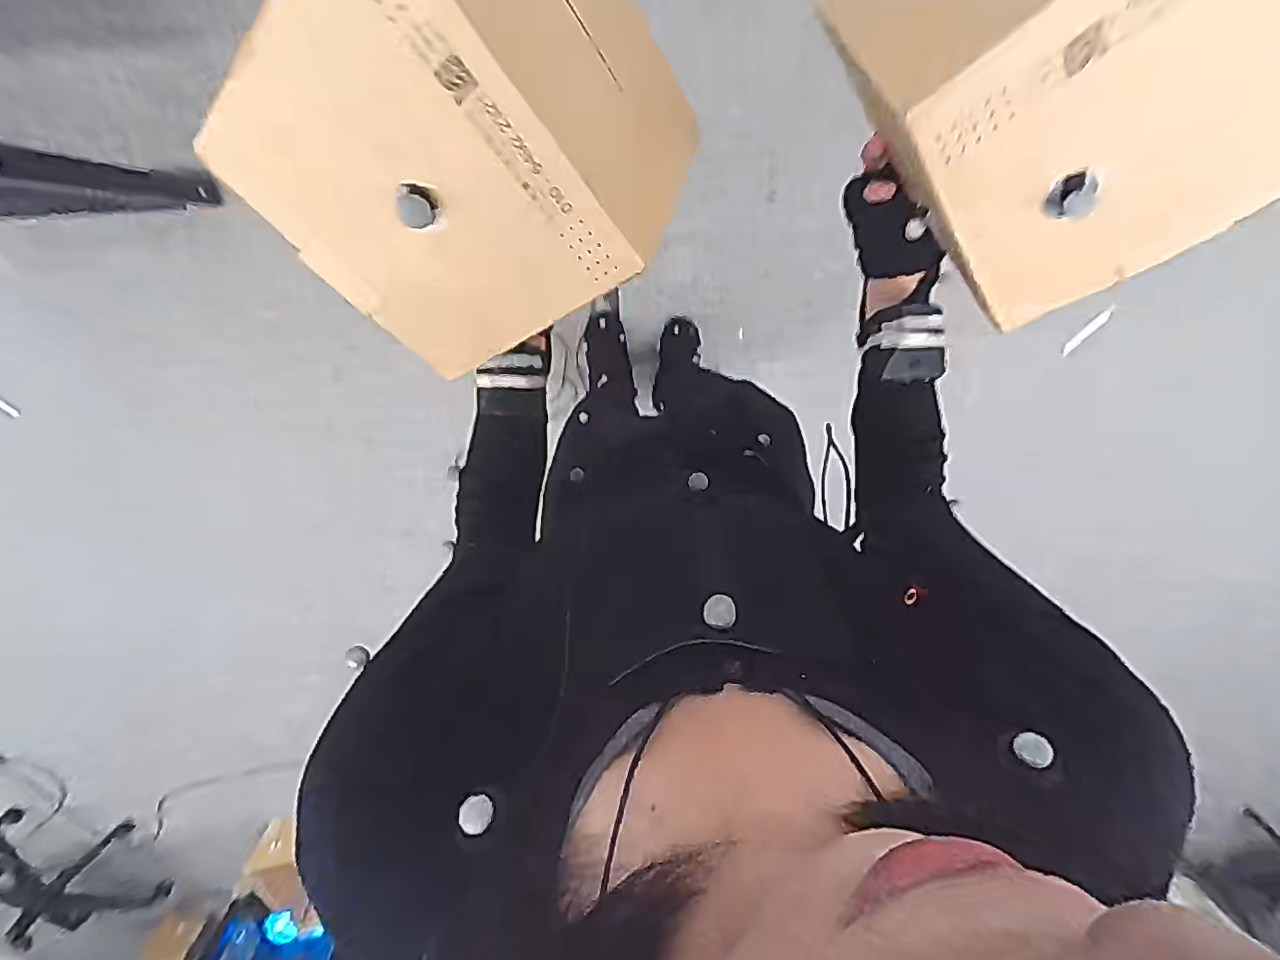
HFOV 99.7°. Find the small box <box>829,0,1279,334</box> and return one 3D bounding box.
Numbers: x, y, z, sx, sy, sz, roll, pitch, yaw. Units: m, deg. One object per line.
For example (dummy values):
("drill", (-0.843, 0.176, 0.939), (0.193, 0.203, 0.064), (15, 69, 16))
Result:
("small box", (0.218, -0.217, 0.268), (0.168, 0.179, 0.176), (-28, 139, 31))
